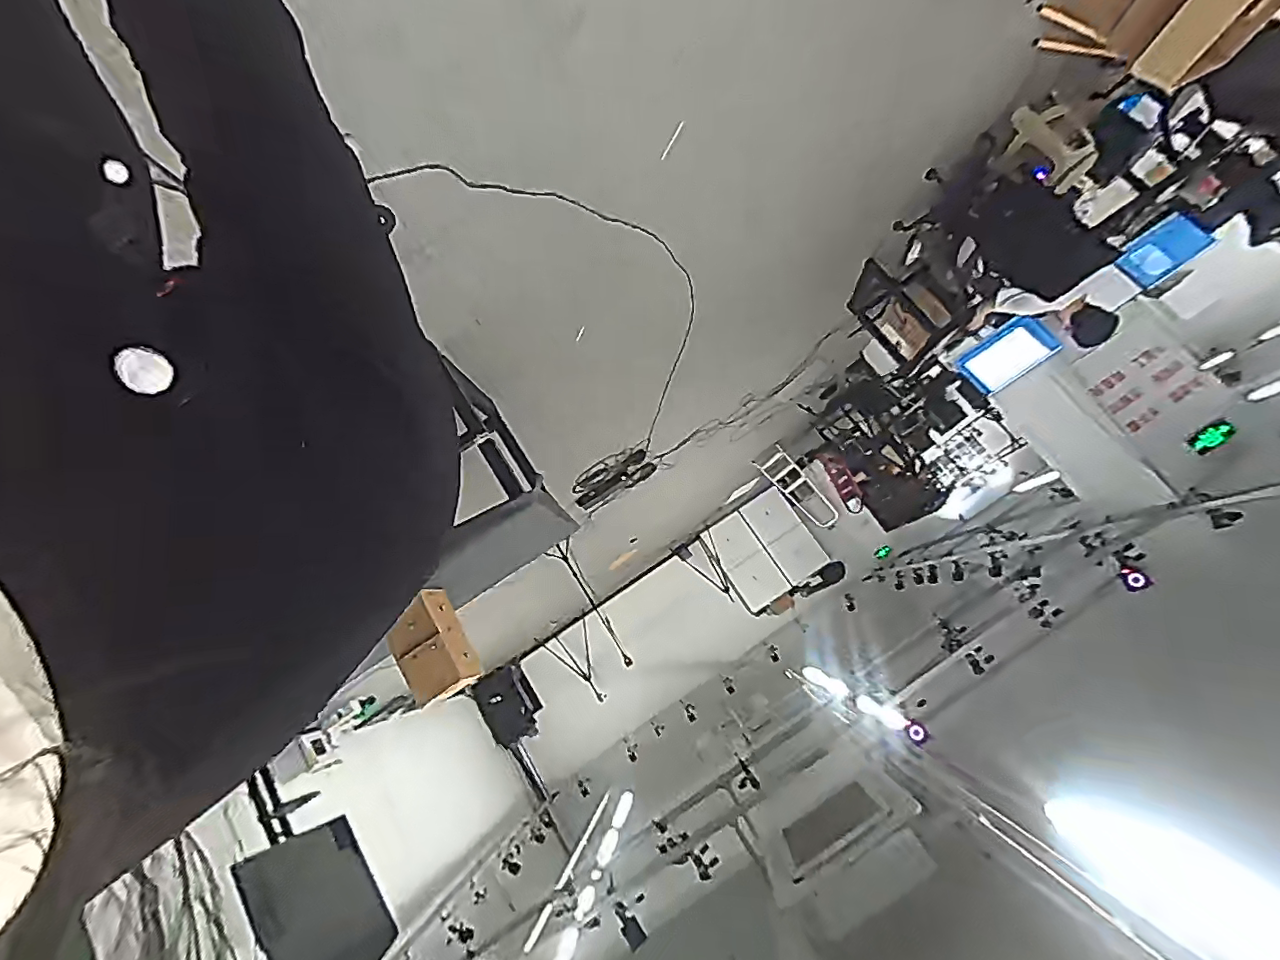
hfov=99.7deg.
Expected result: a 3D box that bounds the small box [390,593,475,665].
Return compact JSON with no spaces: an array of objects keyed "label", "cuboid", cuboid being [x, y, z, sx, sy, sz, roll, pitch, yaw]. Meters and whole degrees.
[{"label":"small box","cuboid":[-0.703,0.492,1.827,0.179,0.176,0.168,-35,166,4]}]

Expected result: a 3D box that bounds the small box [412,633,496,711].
[{"label":"small box","cuboid":[-0.610,0.620,1.773,0.168,0.176,0.179,-35,166,0]}]
